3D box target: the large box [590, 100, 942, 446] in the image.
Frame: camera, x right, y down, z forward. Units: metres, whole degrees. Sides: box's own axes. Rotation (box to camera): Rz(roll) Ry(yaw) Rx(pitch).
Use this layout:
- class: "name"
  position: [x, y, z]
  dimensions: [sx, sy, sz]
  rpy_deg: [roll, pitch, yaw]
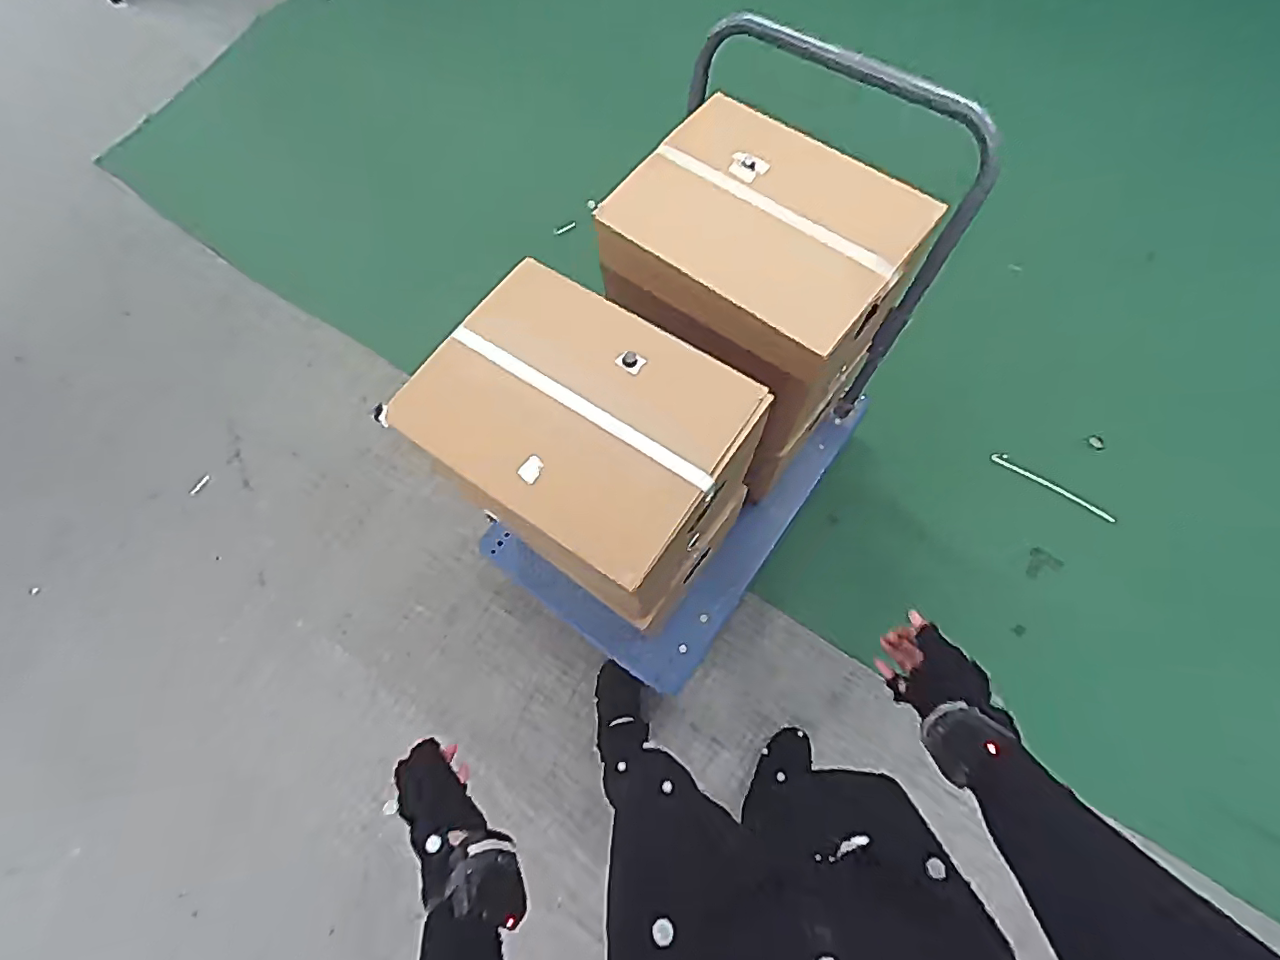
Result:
- class: "large box"
  position: [0.187, -0.327, 0.906]
  dimensions: [0.408, 0.320, 0.320]
  rpy_deg: [37, 77, 16]
